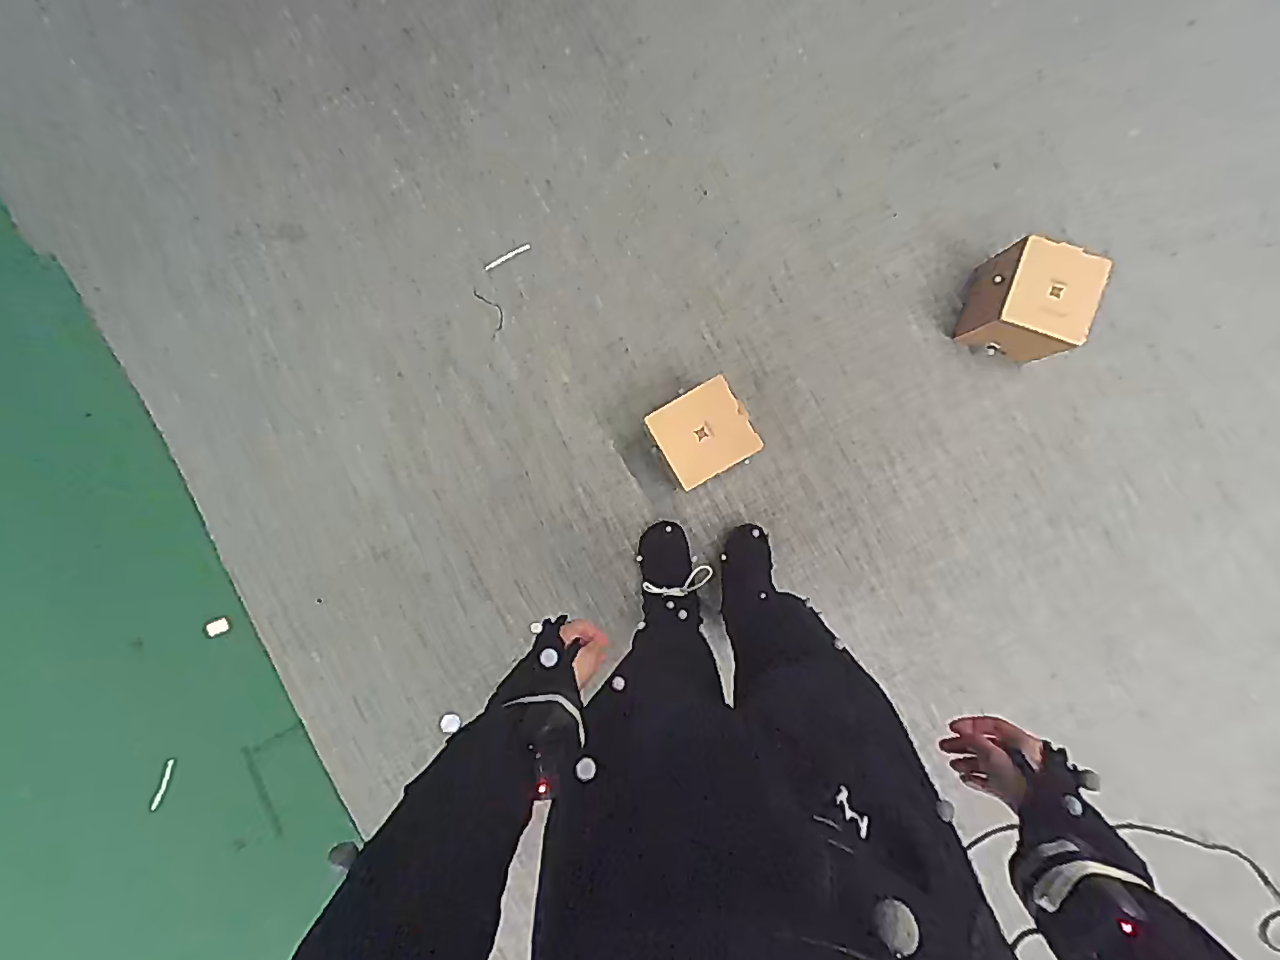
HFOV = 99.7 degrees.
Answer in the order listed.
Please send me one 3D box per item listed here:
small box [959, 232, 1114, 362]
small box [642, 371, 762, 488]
[{"bbox_3d":[0.785,-0.360,1.092,0.168,0.176,0.179,19,91,1],"label":"small box"},{"bbox_3d":[0.120,-0.094,1.097,0.179,0.176,0.168,-30,90,0],"label":"small box"}]
